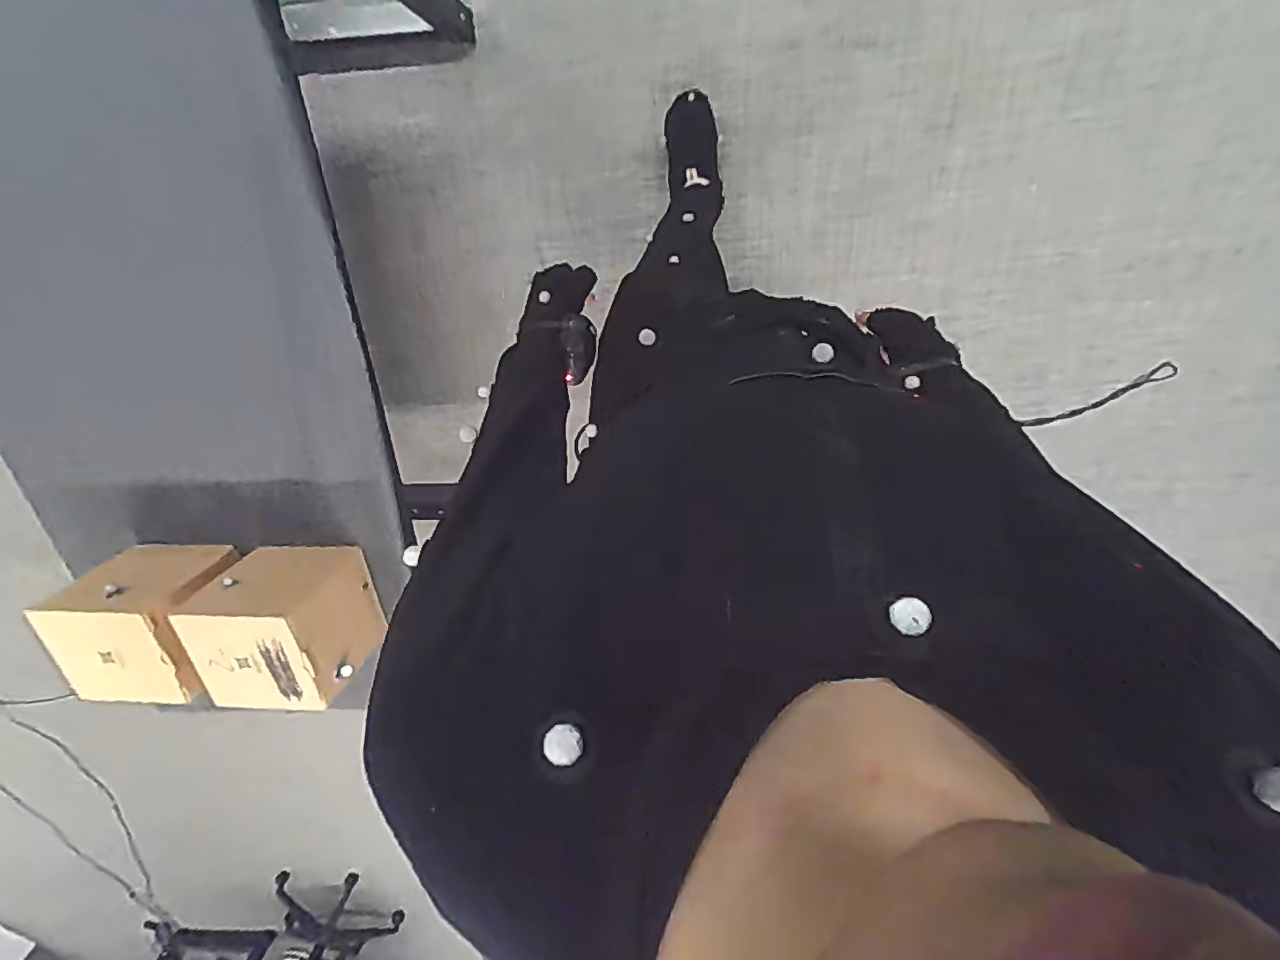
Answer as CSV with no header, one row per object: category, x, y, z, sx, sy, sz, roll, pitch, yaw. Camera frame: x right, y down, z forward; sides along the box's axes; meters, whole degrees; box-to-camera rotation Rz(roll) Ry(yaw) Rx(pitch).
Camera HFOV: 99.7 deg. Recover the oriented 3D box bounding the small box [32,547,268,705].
small box,-0.723,0.214,0.822,0.179,0.176,0.168,0,116,4
